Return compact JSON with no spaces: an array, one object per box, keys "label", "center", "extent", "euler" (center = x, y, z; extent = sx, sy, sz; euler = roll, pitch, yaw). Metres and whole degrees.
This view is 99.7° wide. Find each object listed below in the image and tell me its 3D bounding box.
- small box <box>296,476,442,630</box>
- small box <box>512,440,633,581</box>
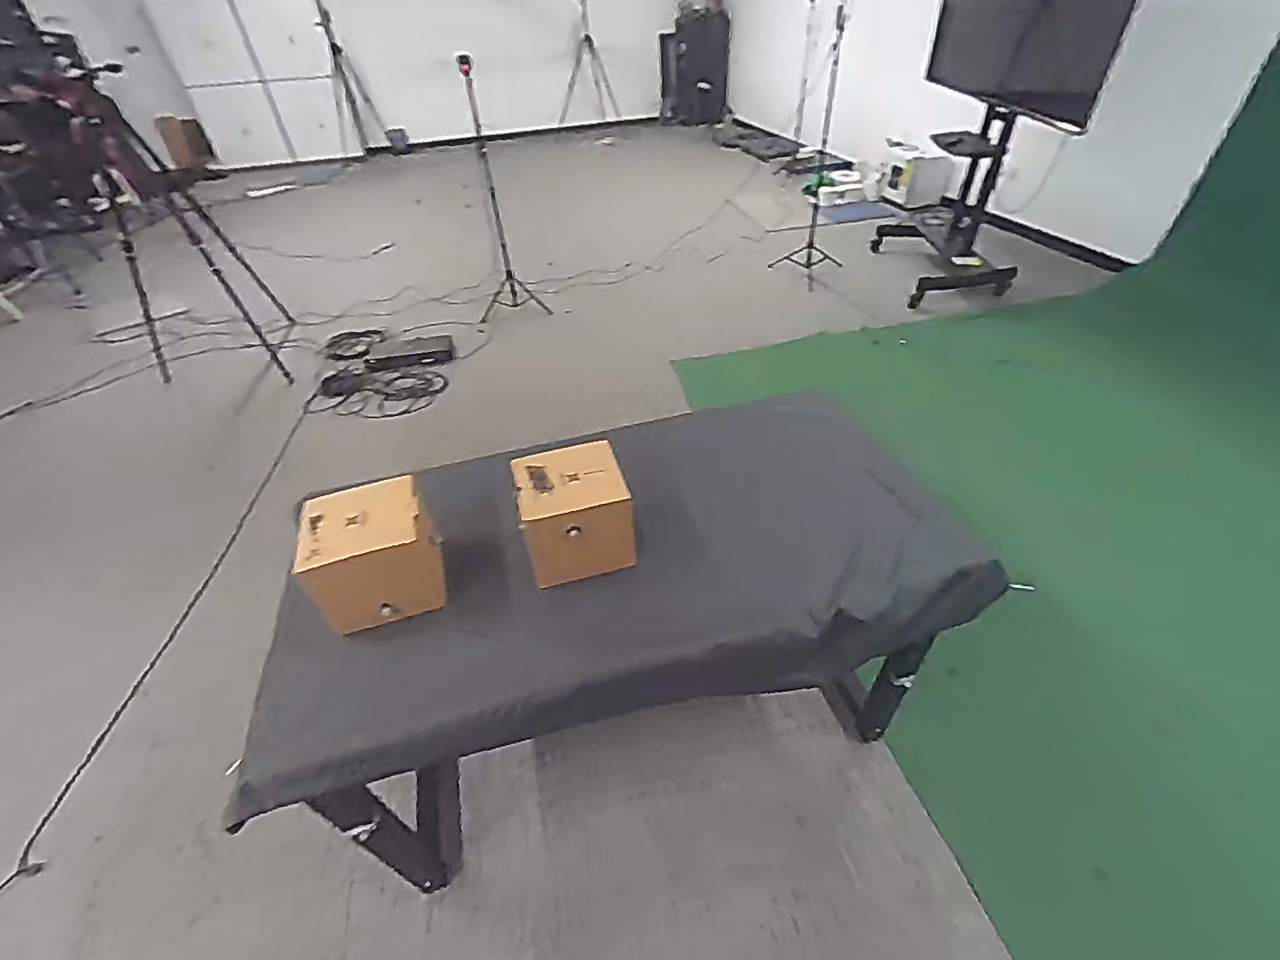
[{"label":"small box","center":[-0.442,0.123,0.912],"extent":[0.179,0.176,0.168],"euler":[-14,43,-13]},{"label":"small box","center":[-0.118,0.056,0.964],"extent":[0.179,0.176,0.168],"euler":[-13,43,-11]}]
